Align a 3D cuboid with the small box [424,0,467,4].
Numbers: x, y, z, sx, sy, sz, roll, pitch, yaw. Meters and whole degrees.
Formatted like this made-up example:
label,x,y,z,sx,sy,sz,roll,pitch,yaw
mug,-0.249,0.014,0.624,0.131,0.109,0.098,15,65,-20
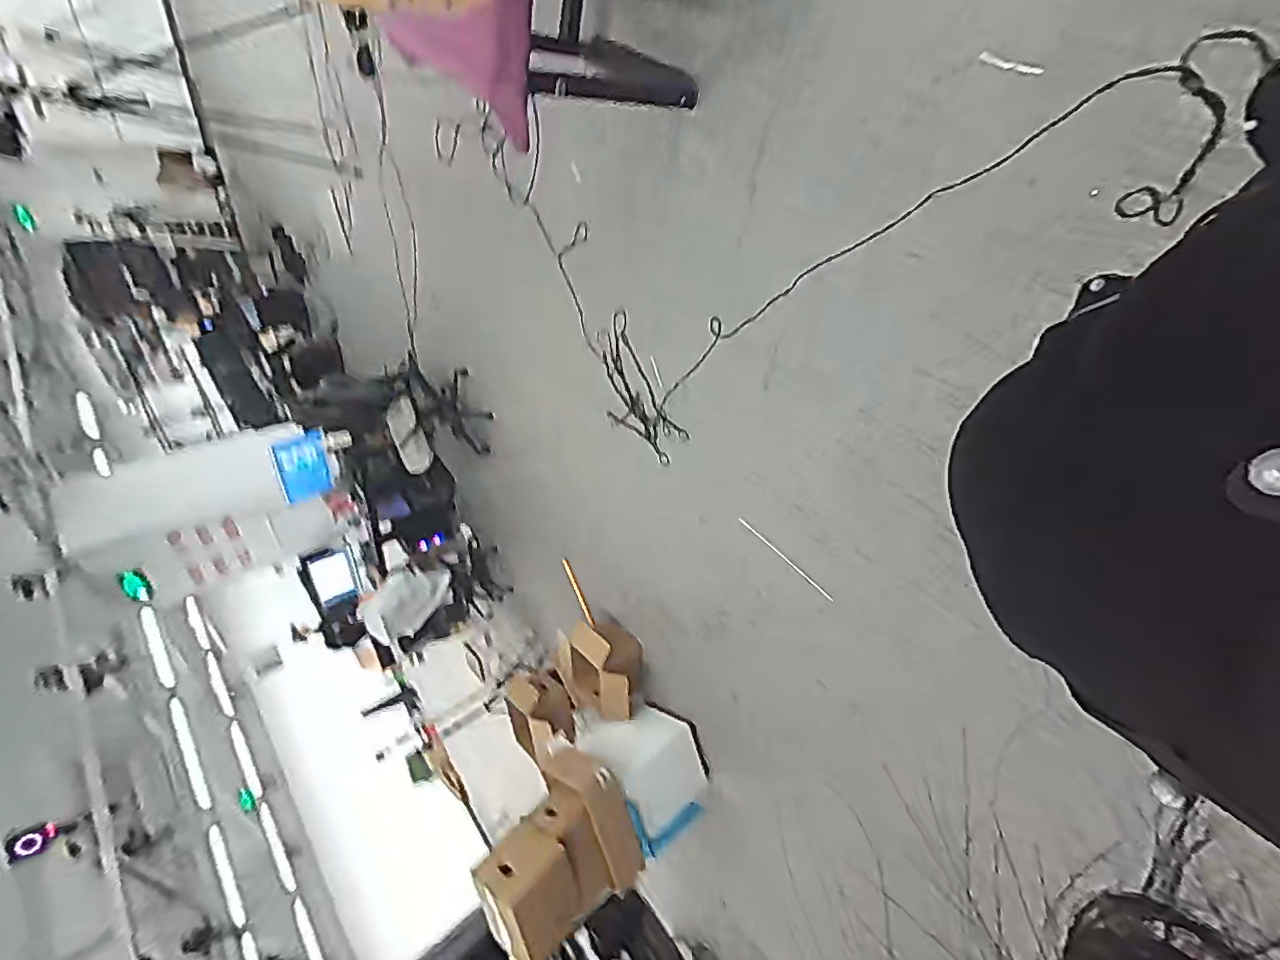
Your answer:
label,x,y,z,sx,sy,sz,roll,pitch,yaw
small box,-0.430,-1.129,1.126,0.168,0.176,0.179,24,128,44
